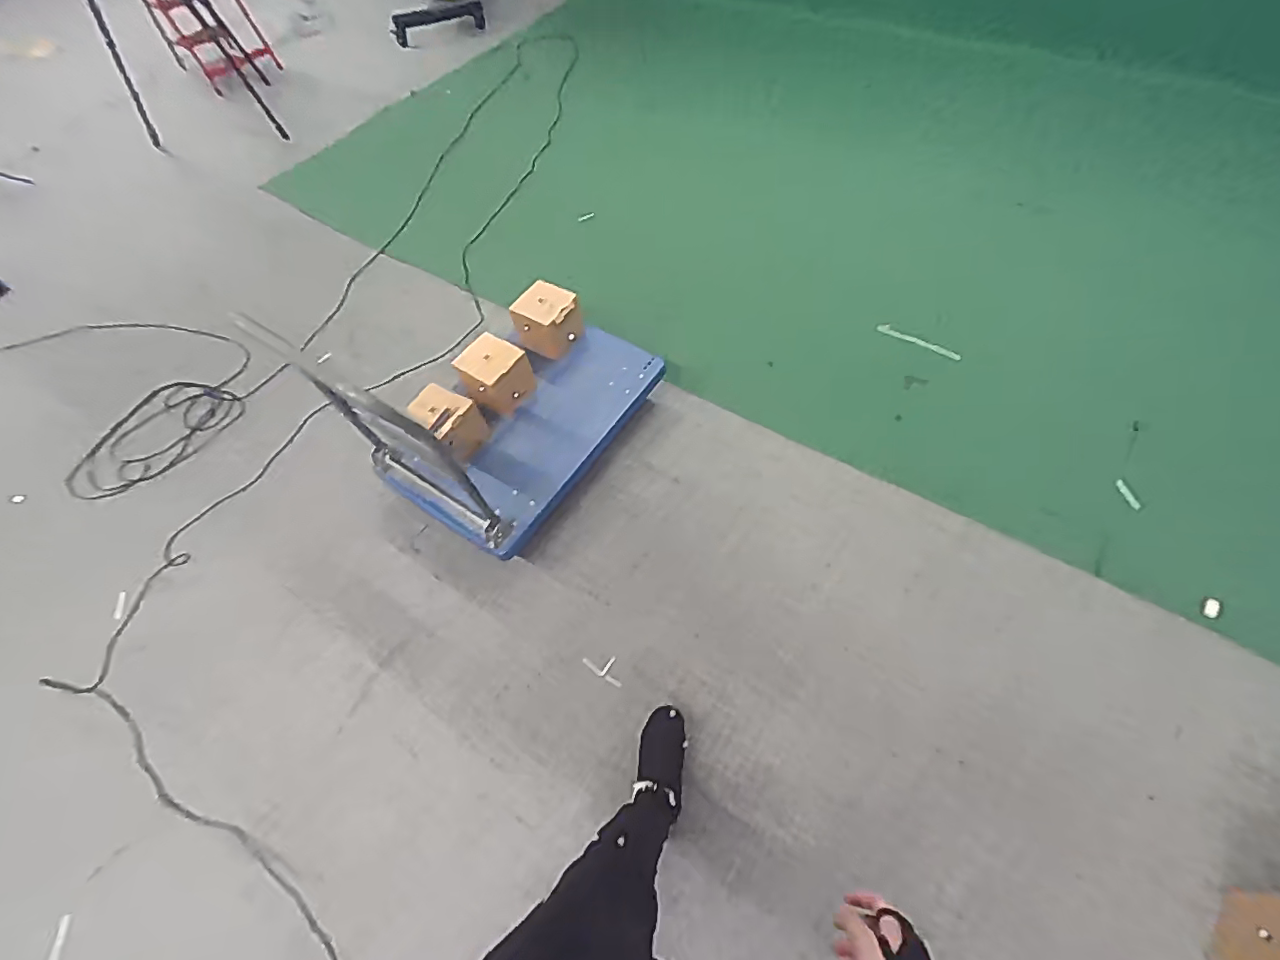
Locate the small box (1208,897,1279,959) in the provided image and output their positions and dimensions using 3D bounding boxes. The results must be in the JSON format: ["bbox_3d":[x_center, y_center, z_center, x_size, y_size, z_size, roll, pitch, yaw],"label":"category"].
[{"bbox_3d":[1.284,0.964,1.058,0.168,0.176,0.179,33,67,22],"label":"small box"}]

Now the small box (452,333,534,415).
[{"bbox_3d":[-0.473,-0.340,1.761,0.179,0.176,0.168,30,65,19],"label":"small box"}]

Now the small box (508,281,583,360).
[{"bbox_3d":[-0.320,-0.545,1.866,0.179,0.176,0.168,35,70,21],"label":"small box"}]
